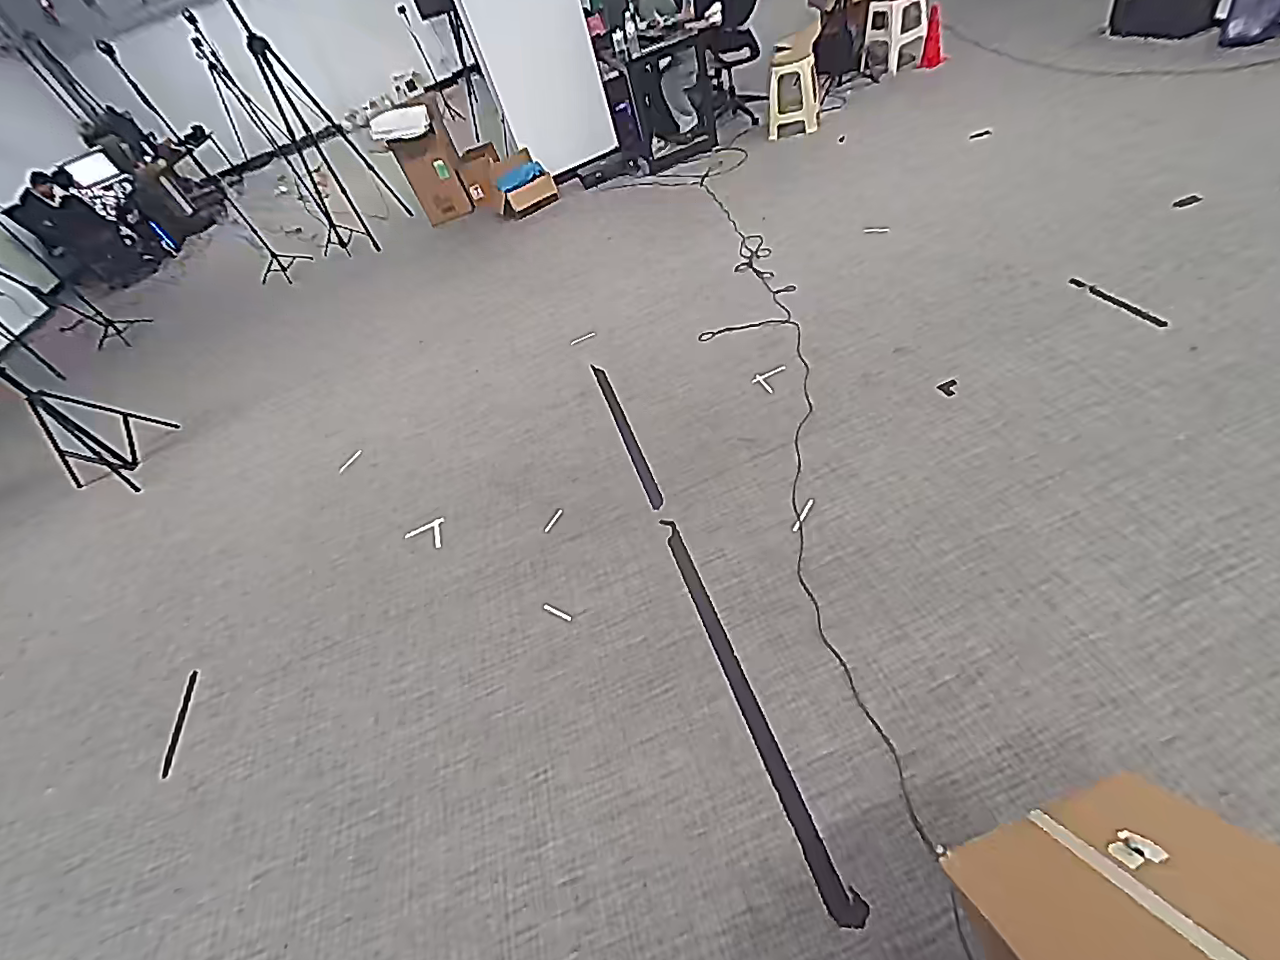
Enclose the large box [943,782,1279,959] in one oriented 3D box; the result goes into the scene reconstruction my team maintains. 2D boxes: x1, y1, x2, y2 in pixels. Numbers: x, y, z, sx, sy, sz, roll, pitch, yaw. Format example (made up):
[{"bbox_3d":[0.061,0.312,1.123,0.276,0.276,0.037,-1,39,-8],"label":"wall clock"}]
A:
[{"bbox_3d":[0.643,0.625,0.591,0.320,0.408,0.320,-24,83,-1],"label":"large box"}]
